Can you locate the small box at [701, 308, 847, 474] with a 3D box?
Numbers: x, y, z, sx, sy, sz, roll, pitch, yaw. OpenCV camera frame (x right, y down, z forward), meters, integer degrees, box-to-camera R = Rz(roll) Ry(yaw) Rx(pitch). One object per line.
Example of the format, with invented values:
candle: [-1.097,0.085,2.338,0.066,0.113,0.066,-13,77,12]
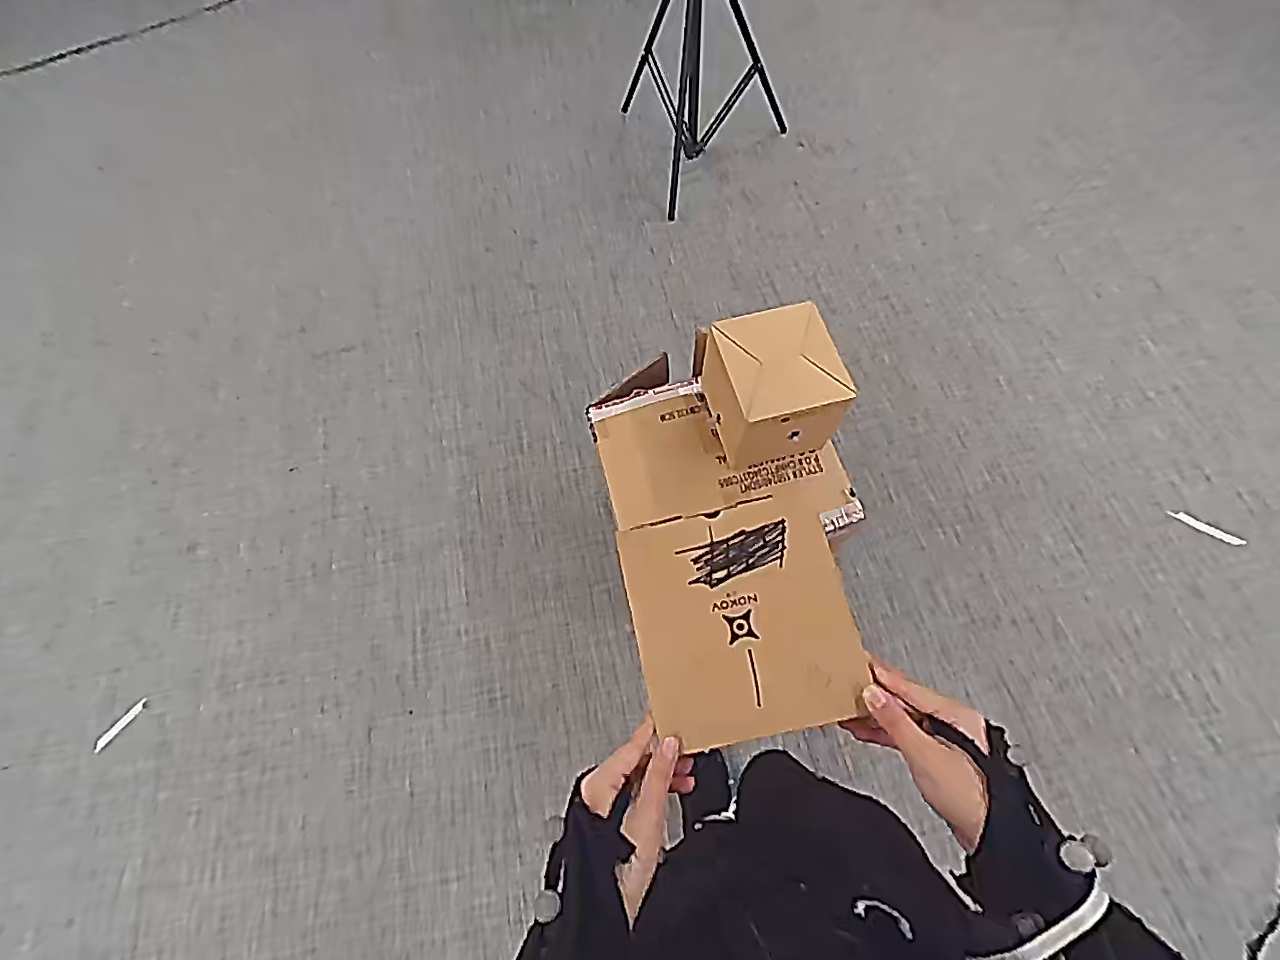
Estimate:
small box: [0.204,-0.137,0.853,0.168,0.176,0.179,-14,68,-5]

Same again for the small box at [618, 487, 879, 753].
small box: [0.085,0.127,0.493,0.168,0.176,0.179,-14,72,3]
